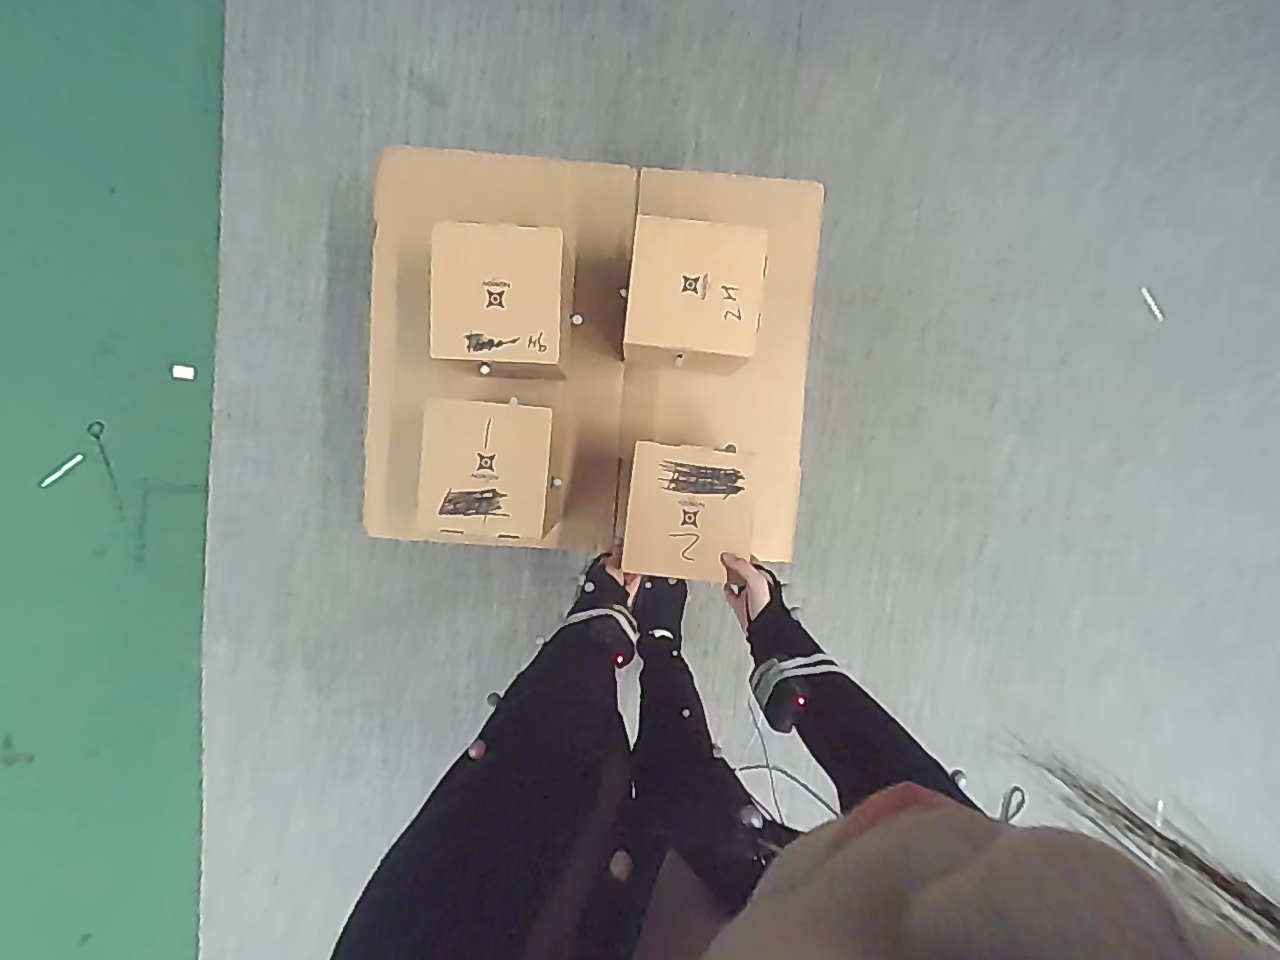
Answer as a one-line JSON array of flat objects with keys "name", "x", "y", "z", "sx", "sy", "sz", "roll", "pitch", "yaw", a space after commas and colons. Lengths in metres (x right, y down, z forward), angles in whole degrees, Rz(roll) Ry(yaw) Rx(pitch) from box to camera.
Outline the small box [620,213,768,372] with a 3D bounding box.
[{"name": "small box", "x": 0.069, "y": -0.255, "z": 0.773, "sx": 0.179, "sy": 0.176, "sz": 0.168, "roll": 7, "pitch": 93, "yaw": -1}]

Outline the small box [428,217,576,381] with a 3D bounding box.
[{"name": "small box", "x": -0.184, "y": -0.244, "z": 0.764, "sx": 0.168, "sy": 0.176, "sz": 0.179, "roll": 3, "pitch": 92, "yaw": 0}]

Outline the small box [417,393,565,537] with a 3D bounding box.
[{"name": "small box", "x": -0.203, "y": -0.023, "z": 0.778, "sx": 0.168, "sy": 0.176, "sz": 0.179, "roll": 5, "pitch": 93, "yaw": -2}]
